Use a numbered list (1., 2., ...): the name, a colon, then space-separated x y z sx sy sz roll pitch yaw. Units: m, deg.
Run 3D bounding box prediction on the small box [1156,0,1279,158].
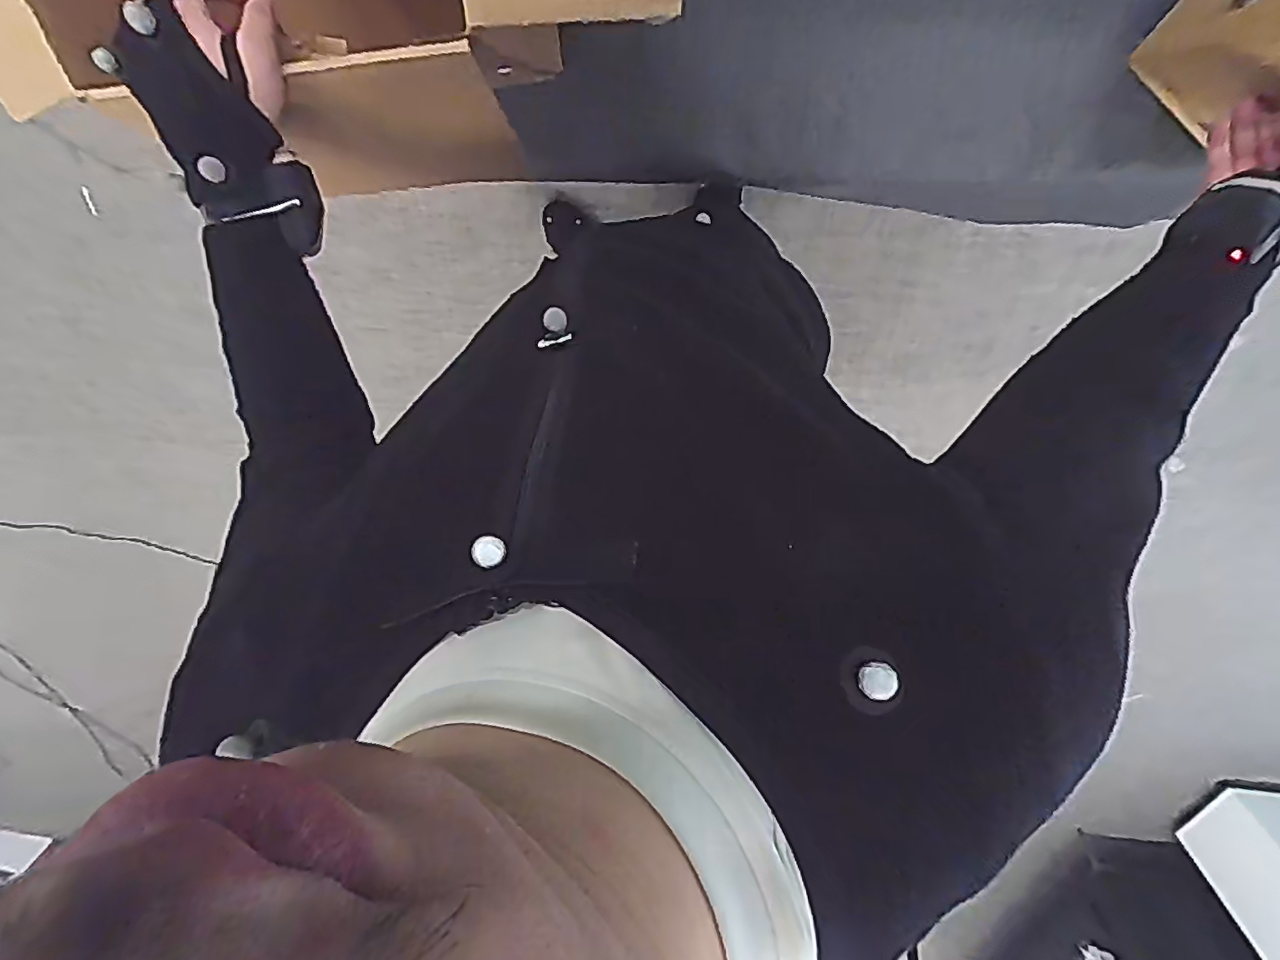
1. small box: 0.591 -0.389 0.442 0.168 0.176 0.179 28 121 -16
